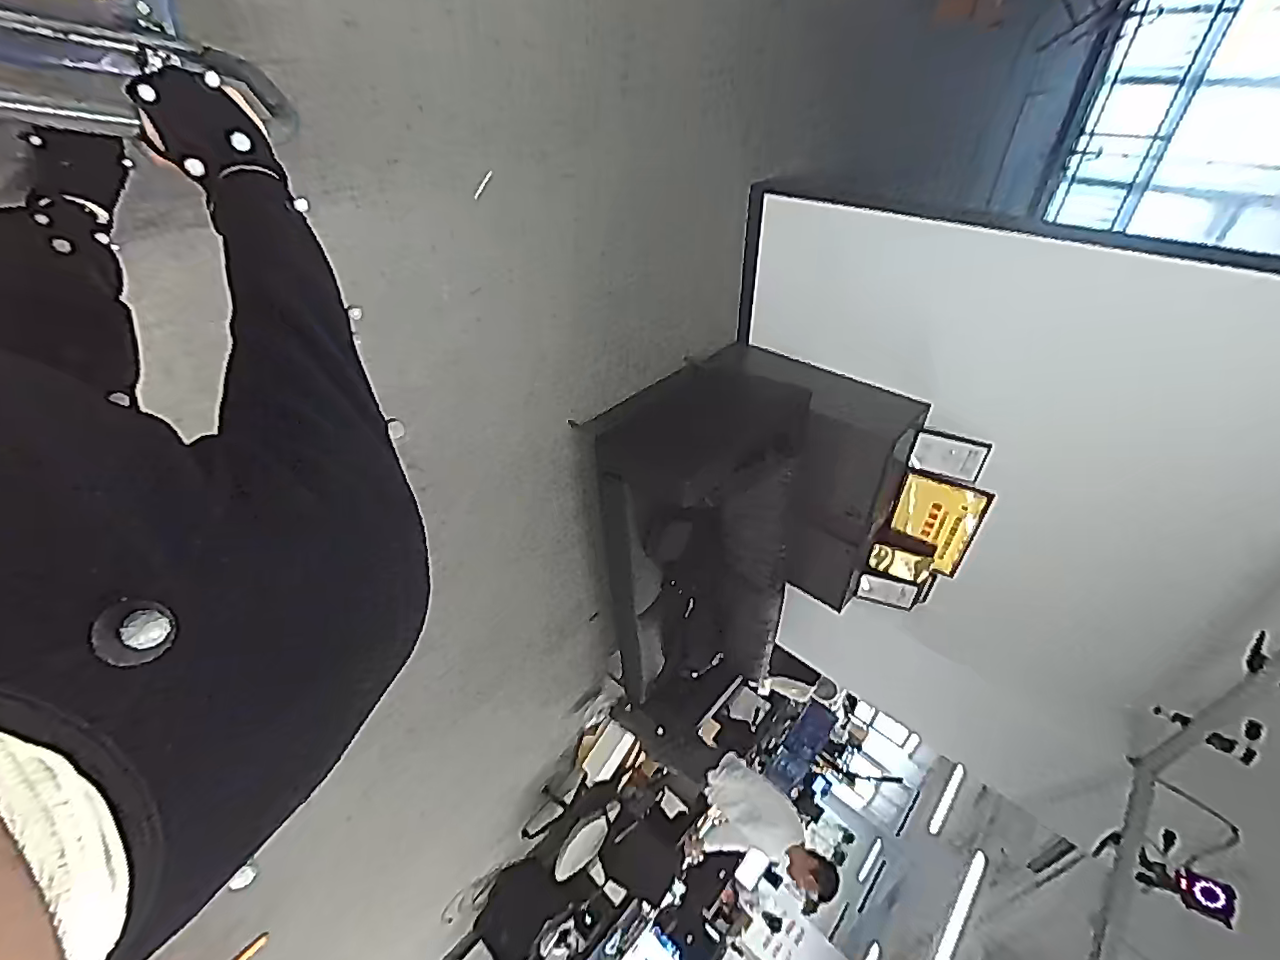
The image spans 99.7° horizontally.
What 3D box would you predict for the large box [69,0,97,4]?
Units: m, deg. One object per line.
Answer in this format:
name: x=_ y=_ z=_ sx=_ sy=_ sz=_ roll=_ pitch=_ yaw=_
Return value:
large box: x=-0.859 y=-0.822 z=0.588 sx=0.320 sy=0.320 sz=0.408 roll=-23 pitch=133 yaw=-43
